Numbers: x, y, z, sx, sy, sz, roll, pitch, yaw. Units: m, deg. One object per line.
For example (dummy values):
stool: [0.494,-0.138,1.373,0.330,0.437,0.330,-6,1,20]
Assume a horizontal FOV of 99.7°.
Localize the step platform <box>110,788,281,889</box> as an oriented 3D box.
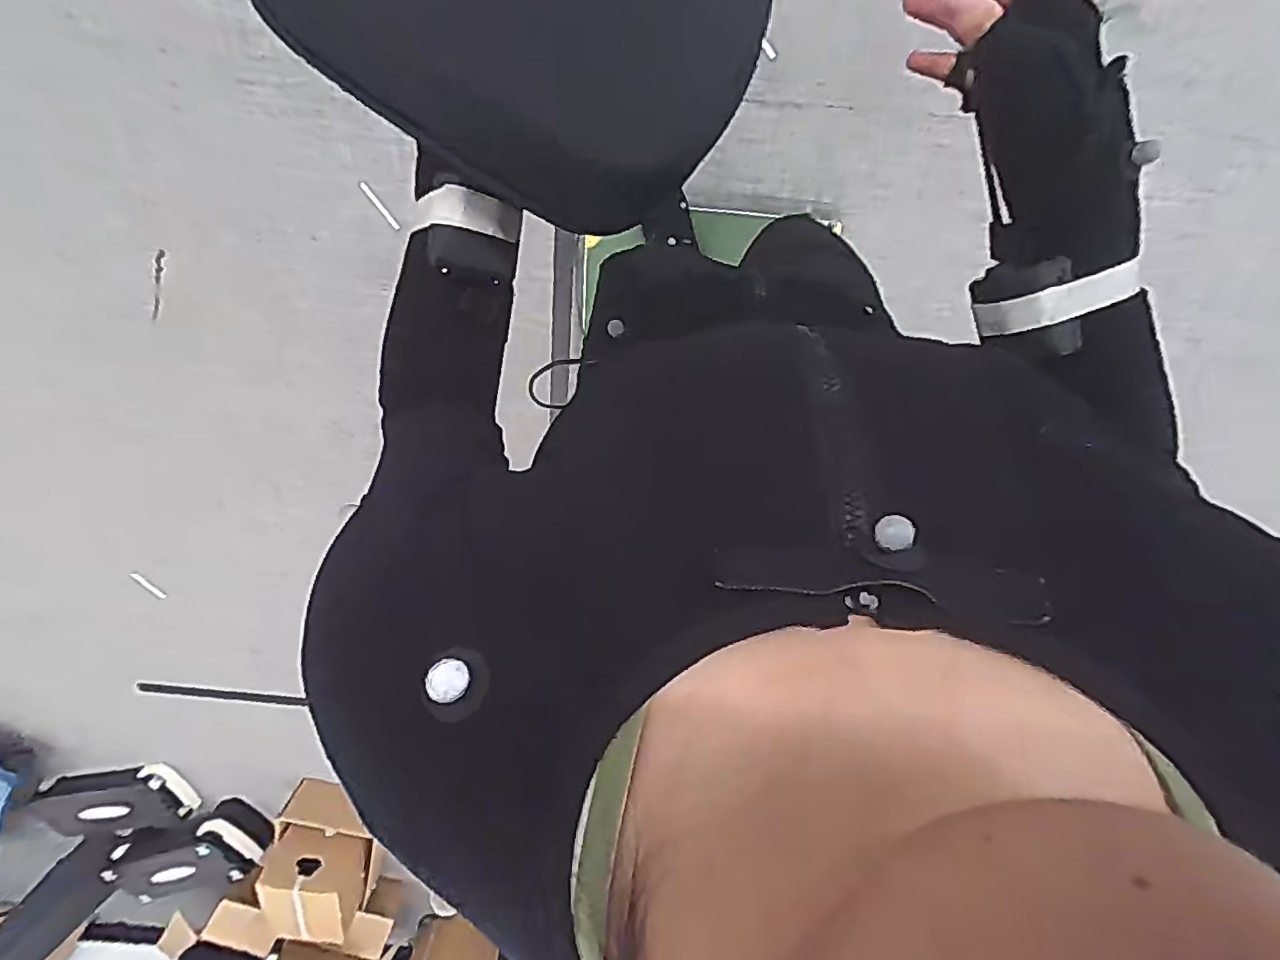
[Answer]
step platform: [-2.020,1.638,2.458,0.684,0.204,0.286,-21,115,12]
